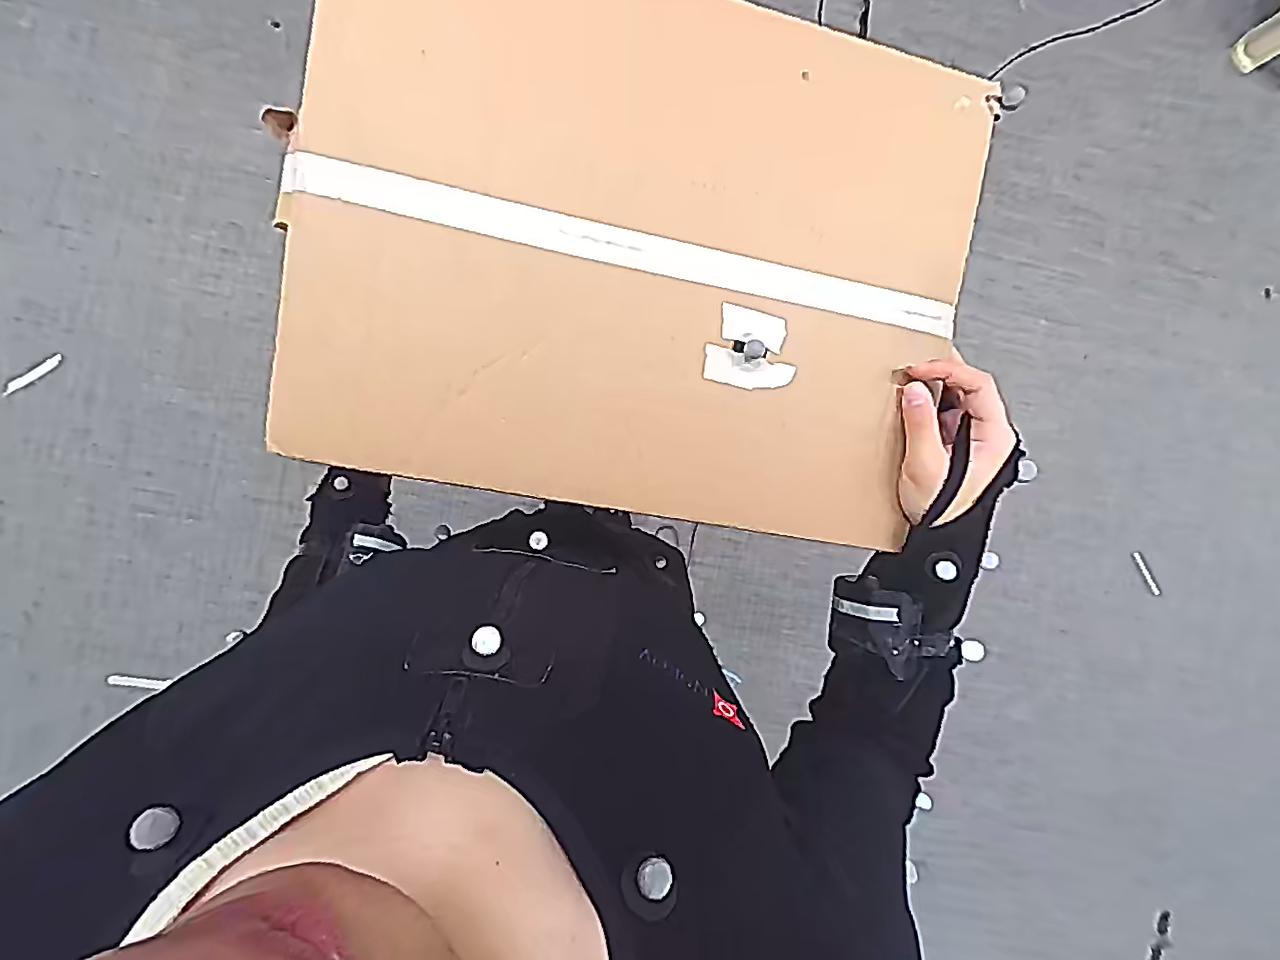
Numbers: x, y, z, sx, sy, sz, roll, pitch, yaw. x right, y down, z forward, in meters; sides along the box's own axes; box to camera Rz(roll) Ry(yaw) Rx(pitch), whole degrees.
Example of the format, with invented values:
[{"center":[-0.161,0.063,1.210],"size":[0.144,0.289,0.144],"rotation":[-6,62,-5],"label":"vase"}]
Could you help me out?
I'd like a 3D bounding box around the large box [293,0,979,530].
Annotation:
[{"center":[-0.013,-0.155,0.483],"size":[0.408,0.320,0.320],"rotation":[9,95,-11],"label":"large box"}]
